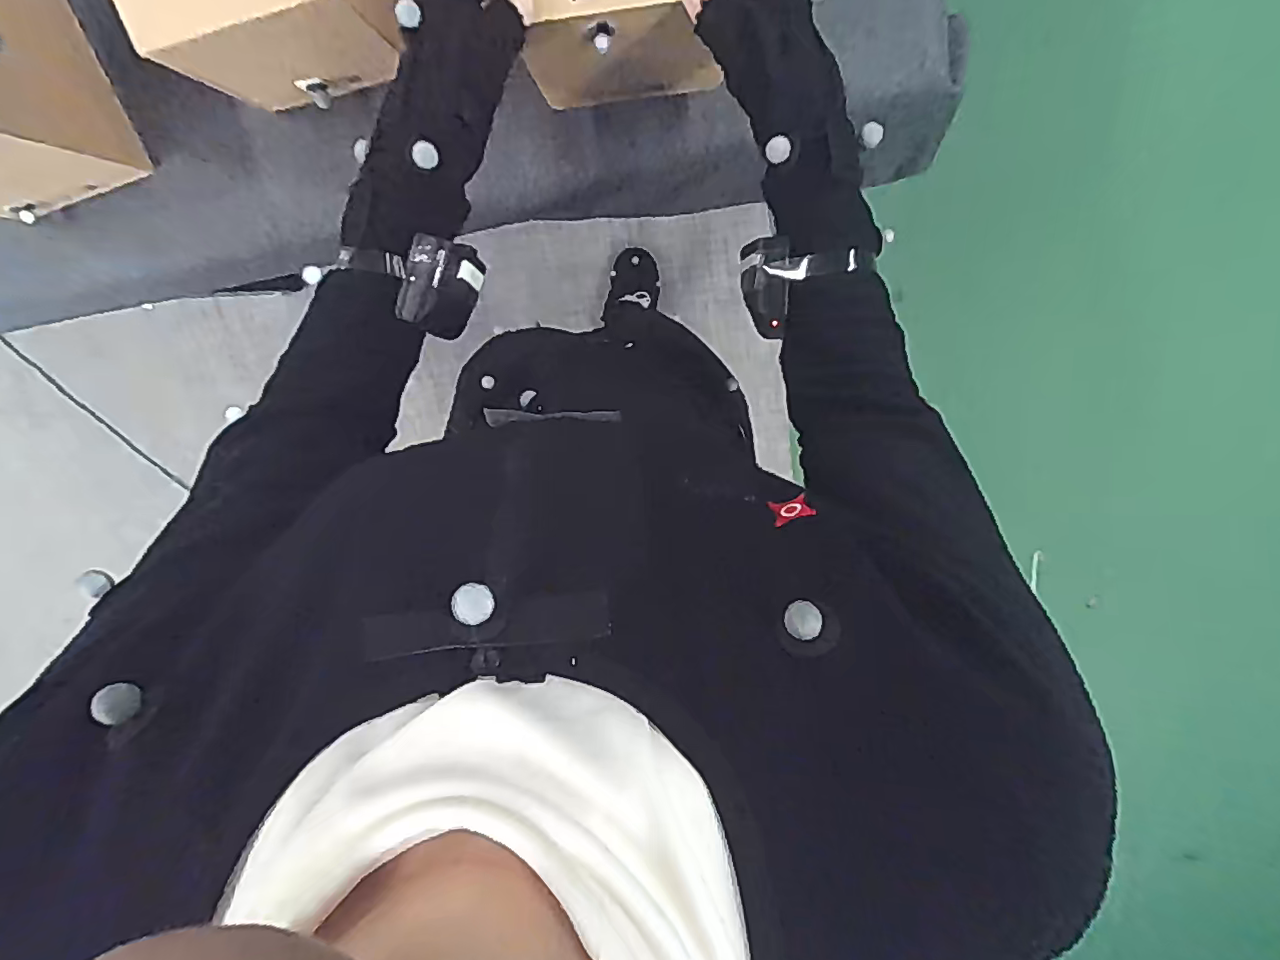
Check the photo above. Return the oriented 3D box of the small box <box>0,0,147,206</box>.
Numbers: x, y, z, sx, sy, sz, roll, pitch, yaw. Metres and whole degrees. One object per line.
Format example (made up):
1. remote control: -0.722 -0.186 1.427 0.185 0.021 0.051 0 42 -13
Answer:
1. small box: -0.613 -0.361 0.480 0.168 0.176 0.179 -16 107 5

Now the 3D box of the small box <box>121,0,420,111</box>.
1. small box: -0.317 -0.450 0.453 0.168 0.176 0.179 -12 110 6

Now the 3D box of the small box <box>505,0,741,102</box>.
1. small box: -0.016 -0.431 0.418 0.168 0.176 0.179 -5 108 4
